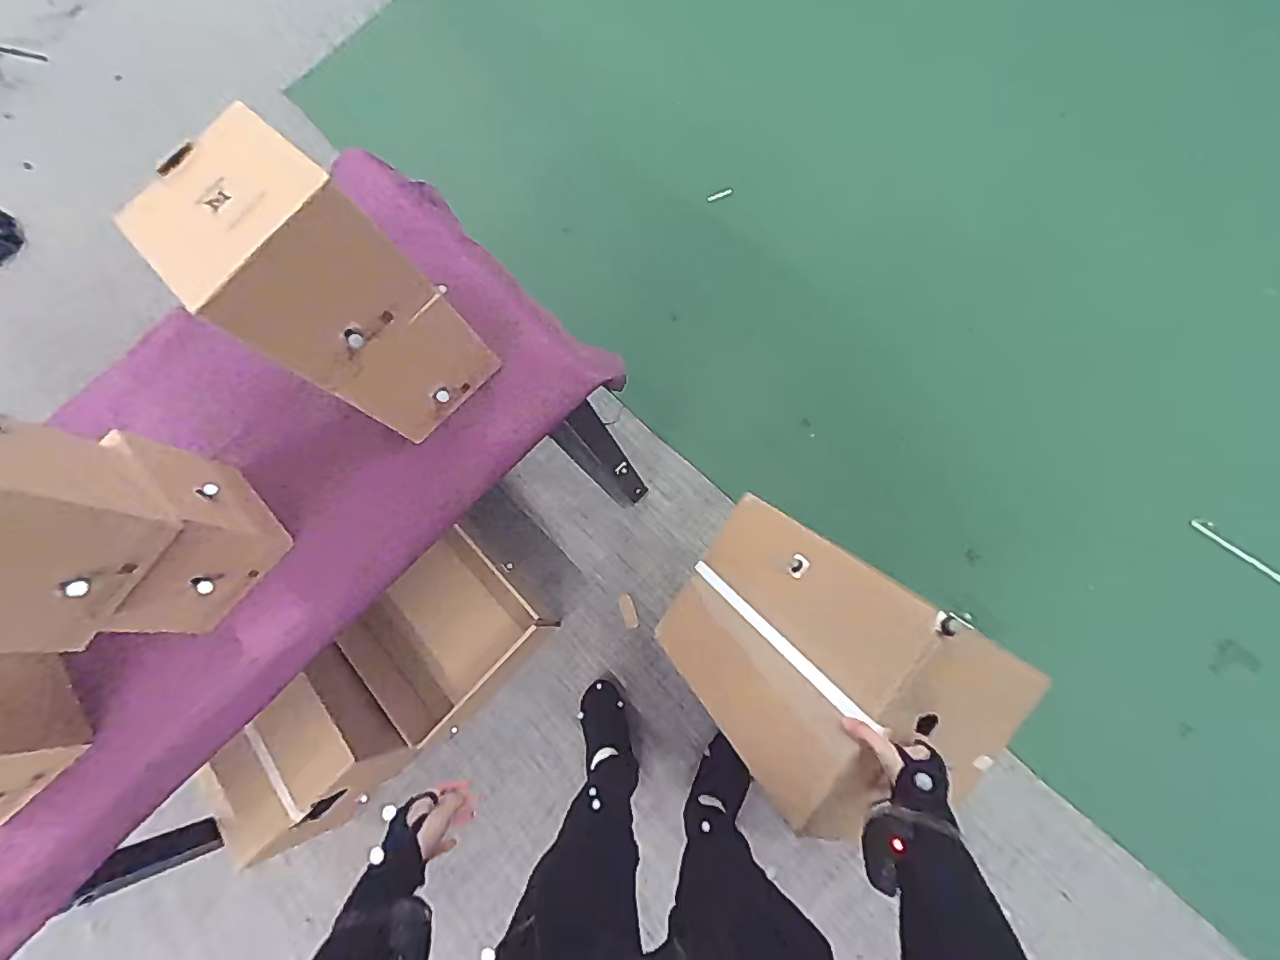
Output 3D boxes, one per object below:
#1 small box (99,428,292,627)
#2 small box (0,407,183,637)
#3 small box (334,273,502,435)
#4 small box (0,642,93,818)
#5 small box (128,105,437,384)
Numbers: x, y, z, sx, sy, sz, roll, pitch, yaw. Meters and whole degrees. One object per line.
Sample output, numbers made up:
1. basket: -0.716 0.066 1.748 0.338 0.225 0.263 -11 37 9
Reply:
1. small box: -0.602 0.069 0.696 0.179 0.176 0.168 40 84 19
2. small box: -0.621 0.041 0.532 0.179 0.176 0.168 34 83 18
3. small box: -0.319 -0.188 0.718 0.168 0.176 0.179 -44 70 -3
4. small box: -0.856 0.317 0.671 0.168 0.176 0.179 -43 71 -4
5. small box: -0.356 -0.231 0.565 0.179 0.176 0.168 42 86 20
